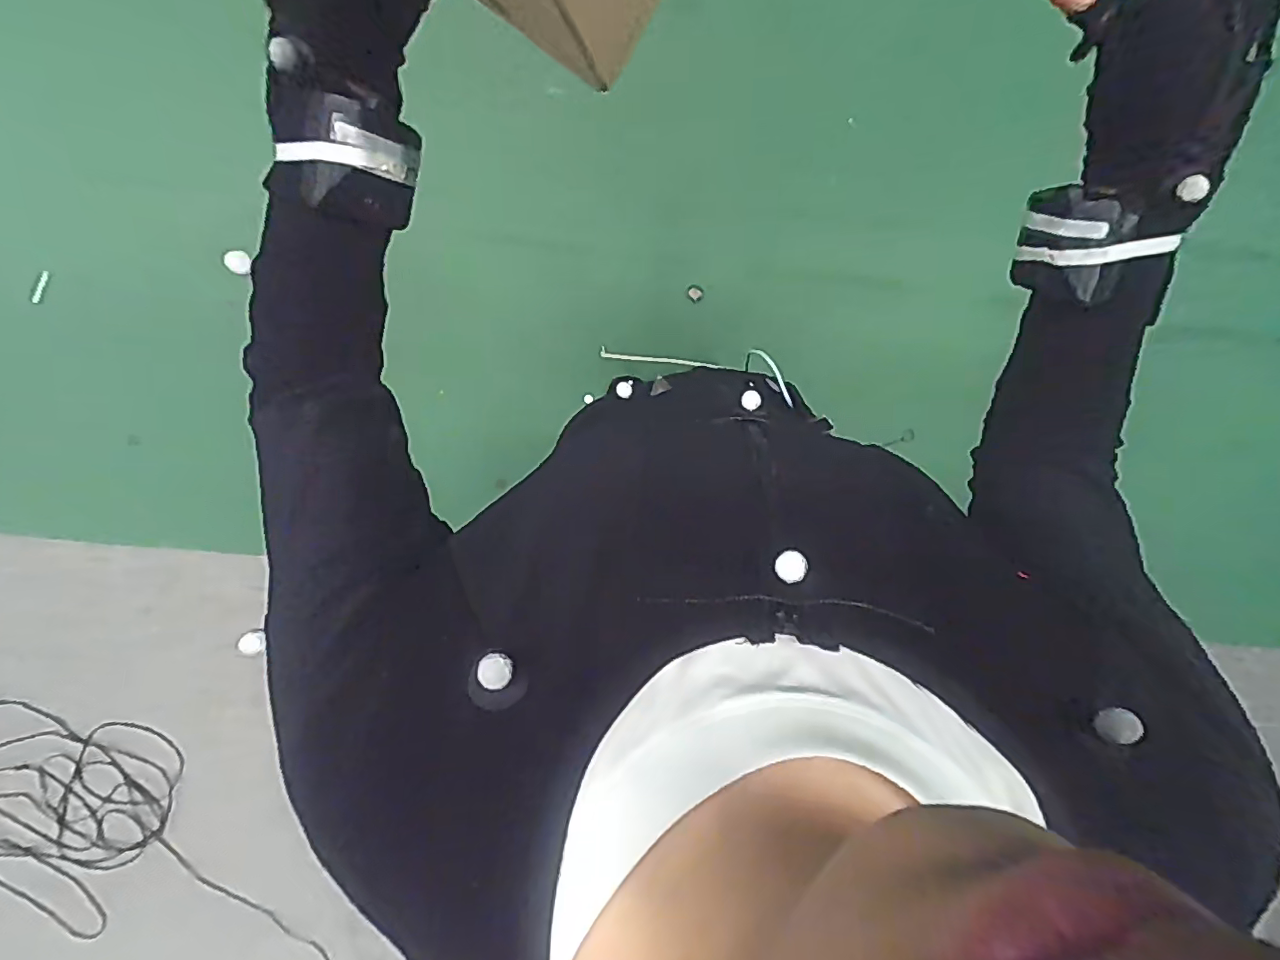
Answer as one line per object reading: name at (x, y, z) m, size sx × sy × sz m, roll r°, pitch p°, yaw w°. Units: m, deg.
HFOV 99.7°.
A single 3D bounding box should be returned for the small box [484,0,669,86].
small box at (-0.038, -0.282, 0.166) m, size 0.168 × 0.176 × 0.179 m, roll 38°, pitch 108°, yaw -3°
